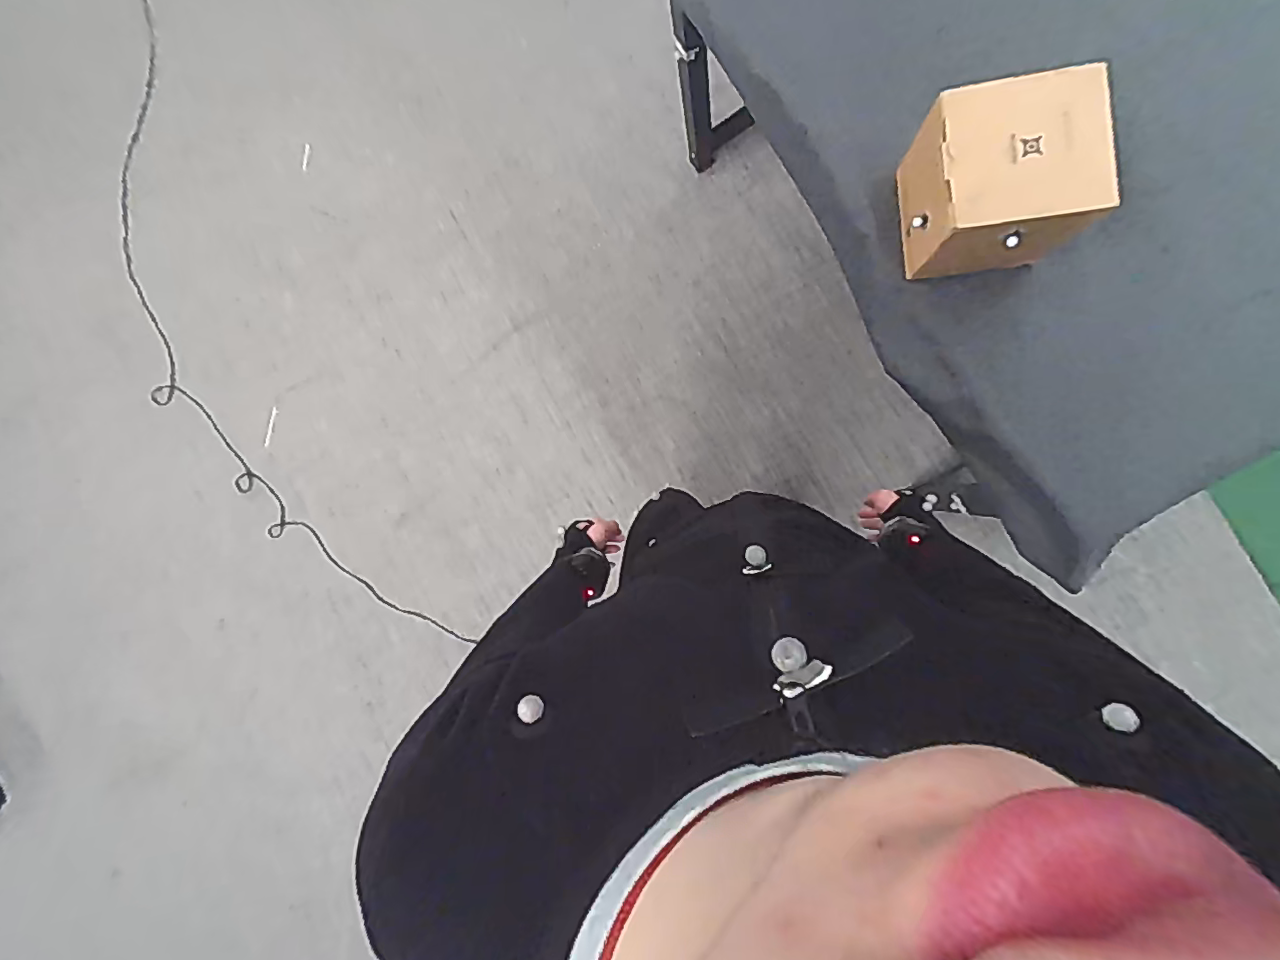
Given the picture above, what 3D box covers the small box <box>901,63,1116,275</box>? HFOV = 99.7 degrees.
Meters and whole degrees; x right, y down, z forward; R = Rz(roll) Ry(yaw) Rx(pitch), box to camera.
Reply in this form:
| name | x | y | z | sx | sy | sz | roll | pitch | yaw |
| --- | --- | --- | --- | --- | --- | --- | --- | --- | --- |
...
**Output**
| name | x | y | z | sx | sy | sz | roll | pitch | yaw |
| --- | --- | --- | --- | --- | --- | --- | --- | --- | --- |
| small box | 0.452 | -0.380 | 0.696 | 0.179 | 0.176 | 0.168 | -5 | 90 | 8 |
